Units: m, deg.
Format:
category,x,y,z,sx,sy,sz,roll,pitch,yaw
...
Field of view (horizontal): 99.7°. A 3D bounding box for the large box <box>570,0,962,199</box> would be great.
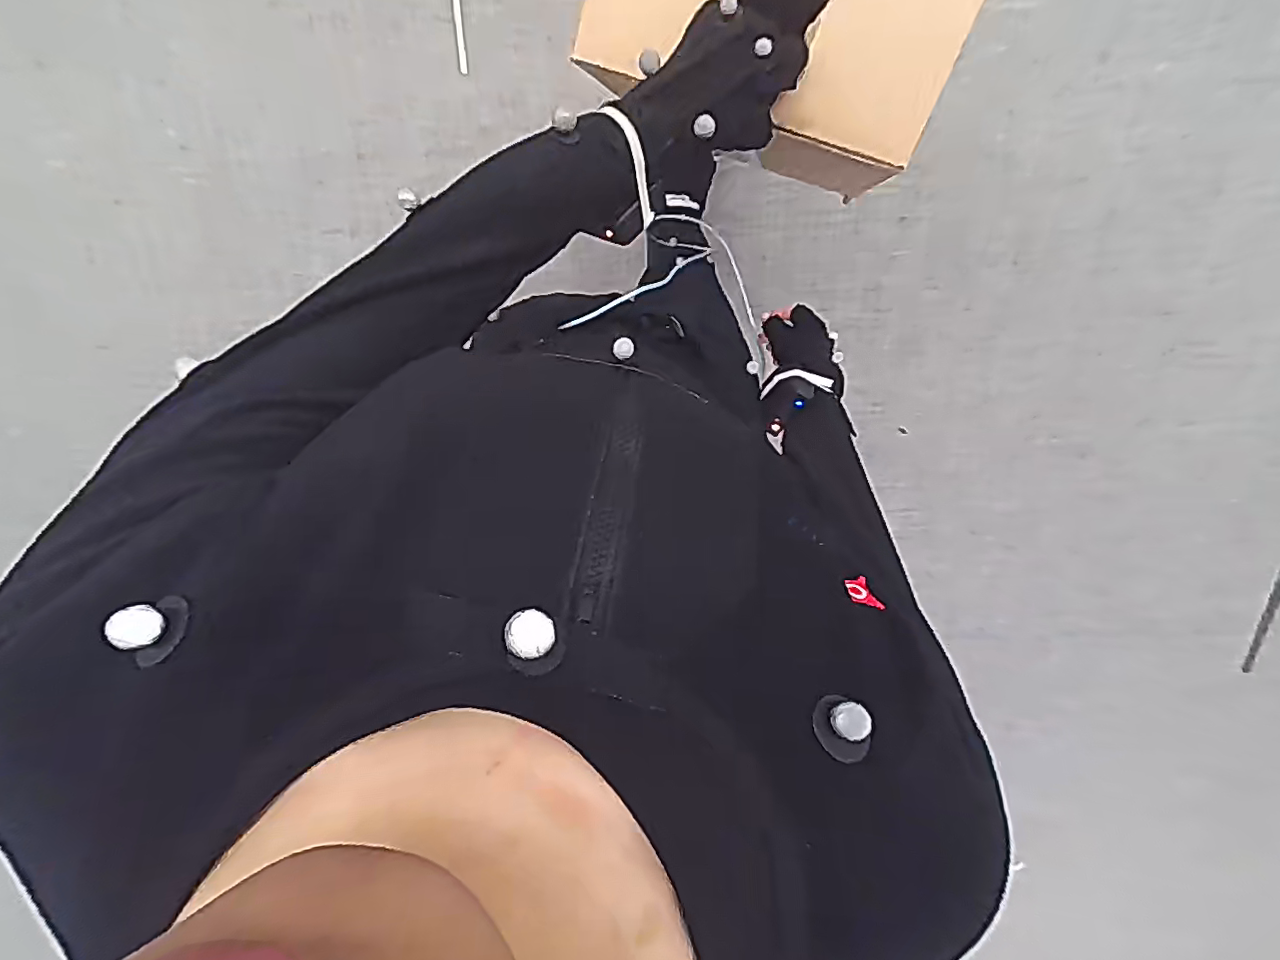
category,x,y,z,sx,sy,sz,roll,pitch,yaw
large box,0.172,-0.525,0.579,0.320,0.408,0.320,24,118,6
